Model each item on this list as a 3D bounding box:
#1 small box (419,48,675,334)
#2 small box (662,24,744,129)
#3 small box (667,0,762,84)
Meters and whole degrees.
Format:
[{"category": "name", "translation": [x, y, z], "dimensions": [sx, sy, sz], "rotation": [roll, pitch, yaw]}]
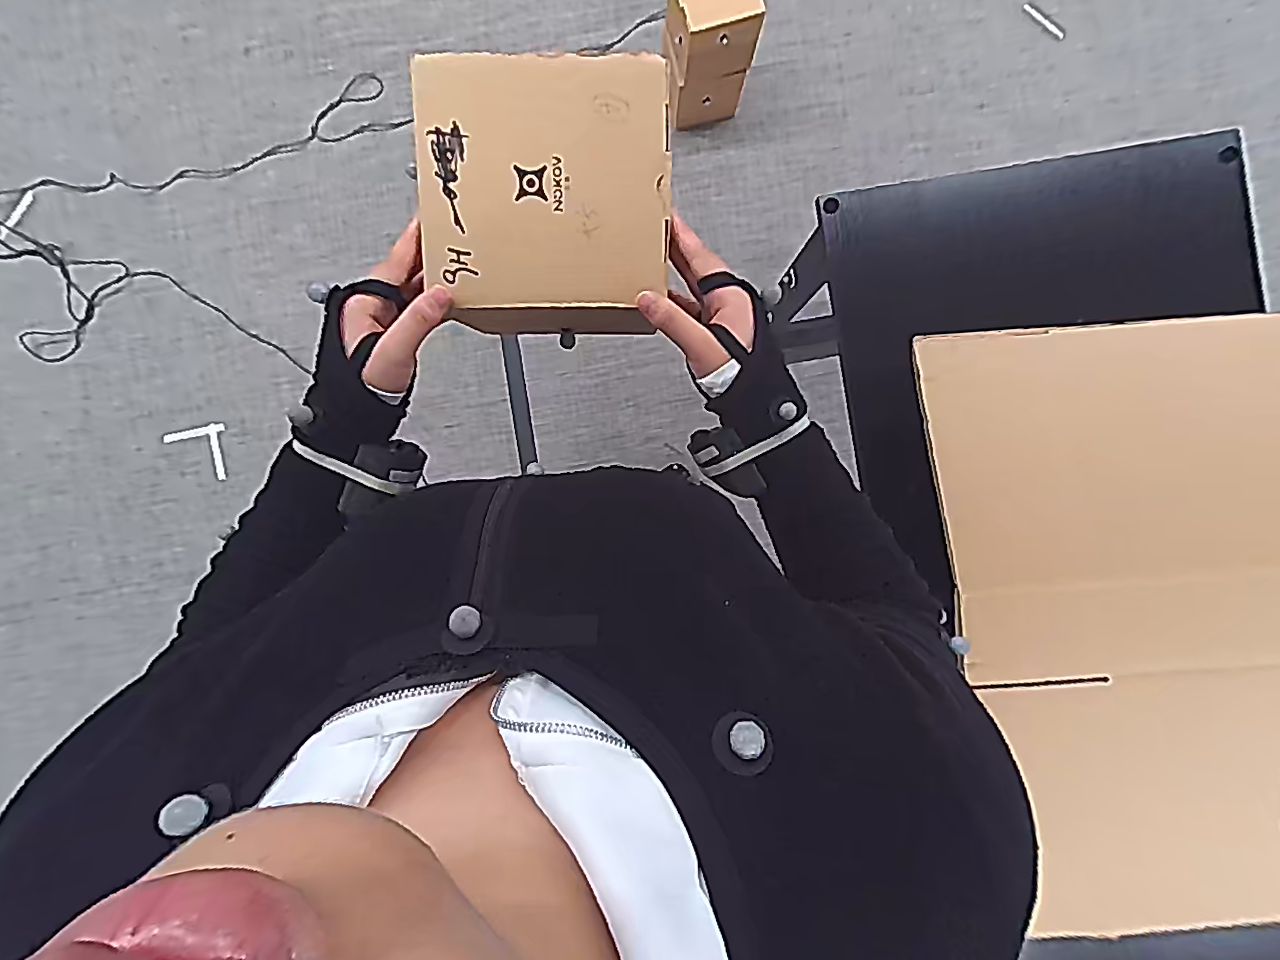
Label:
[{"category": "small box", "translation": [-0.068, -0.220, 0.458], "dimensions": [0.179, 0.176, 0.168], "rotation": [0, 97, -2]}, {"category": "small box", "translation": [0.157, -1.072, 1.425], "dimensions": [0.179, 0.176, 0.168], "rotation": [-13, 90, 1]}, {"category": "small box", "translation": [0.164, -1.074, 1.262], "dimensions": [0.179, 0.176, 0.168], "rotation": [-16, 90, -1]}]
